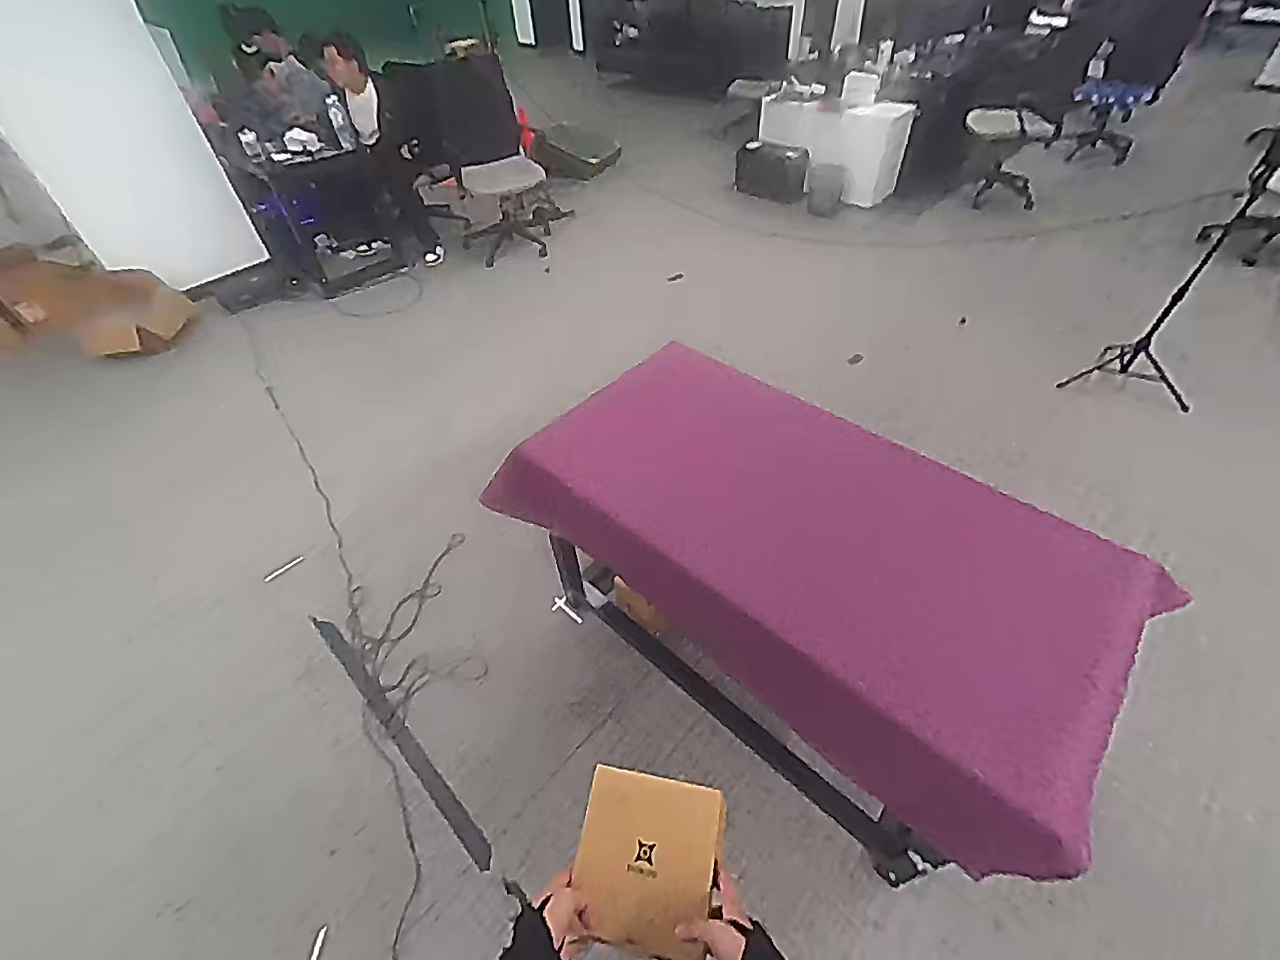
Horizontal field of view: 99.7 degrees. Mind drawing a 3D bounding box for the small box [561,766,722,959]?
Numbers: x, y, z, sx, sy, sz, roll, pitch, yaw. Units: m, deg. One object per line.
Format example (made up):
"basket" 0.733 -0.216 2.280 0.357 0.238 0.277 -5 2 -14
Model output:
"small box" 0.016 0.499 0.710 0.168 0.176 0.179 5 57 14
